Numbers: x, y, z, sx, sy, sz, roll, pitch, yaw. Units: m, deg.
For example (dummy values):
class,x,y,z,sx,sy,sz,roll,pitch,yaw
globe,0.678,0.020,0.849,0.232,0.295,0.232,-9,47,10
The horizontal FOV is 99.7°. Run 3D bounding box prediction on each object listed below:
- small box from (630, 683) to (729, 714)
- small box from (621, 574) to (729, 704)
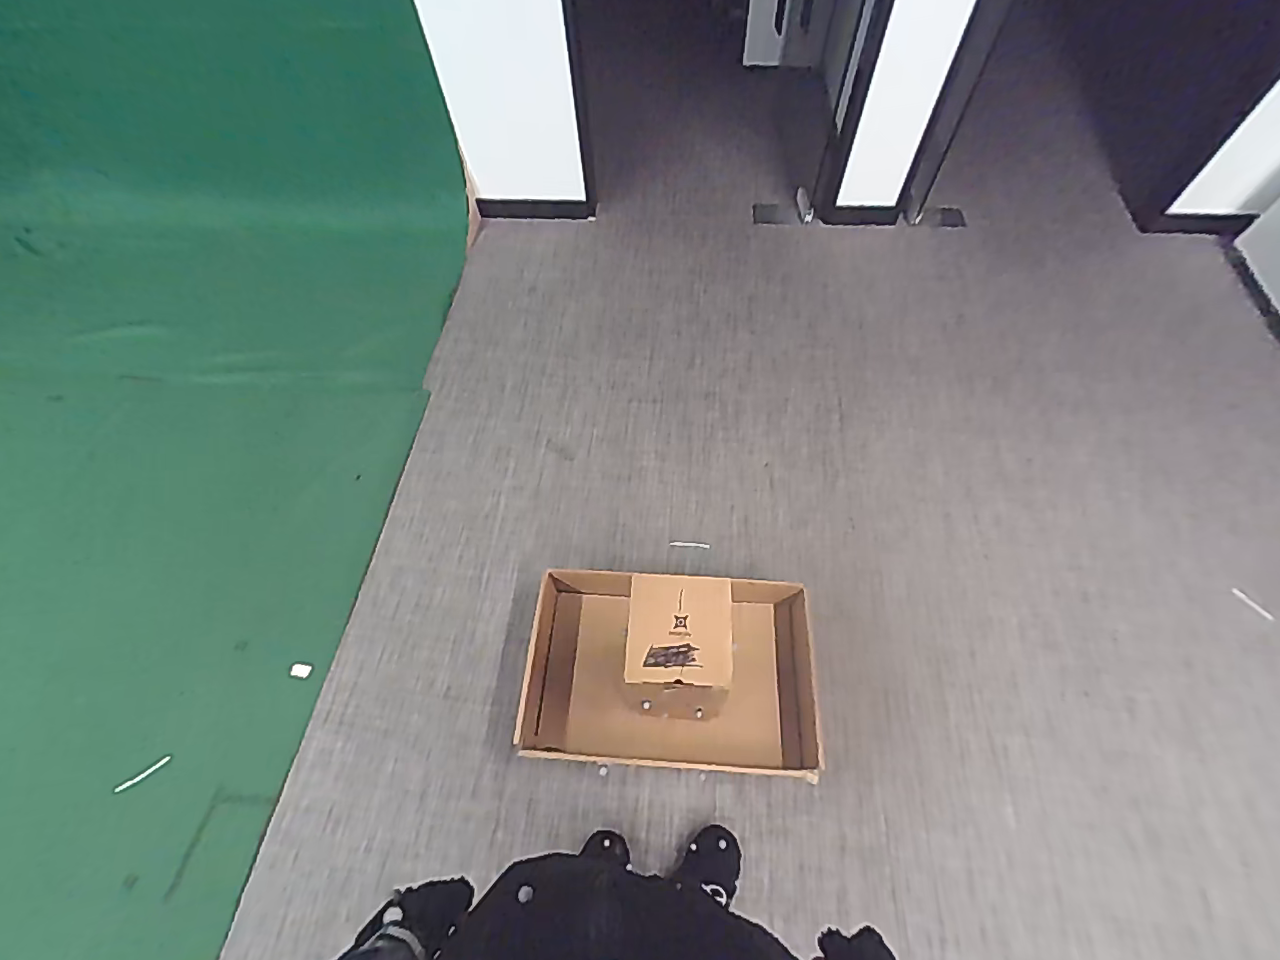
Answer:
class,x,y,z,sx,sy,sz,roll,pitch,yaw
small box,0.072,0.354,1.049,0.179,0.176,0.168,-1,59,2
small box,0.063,0.276,0.923,0.168,0.176,0.179,2,58,4
